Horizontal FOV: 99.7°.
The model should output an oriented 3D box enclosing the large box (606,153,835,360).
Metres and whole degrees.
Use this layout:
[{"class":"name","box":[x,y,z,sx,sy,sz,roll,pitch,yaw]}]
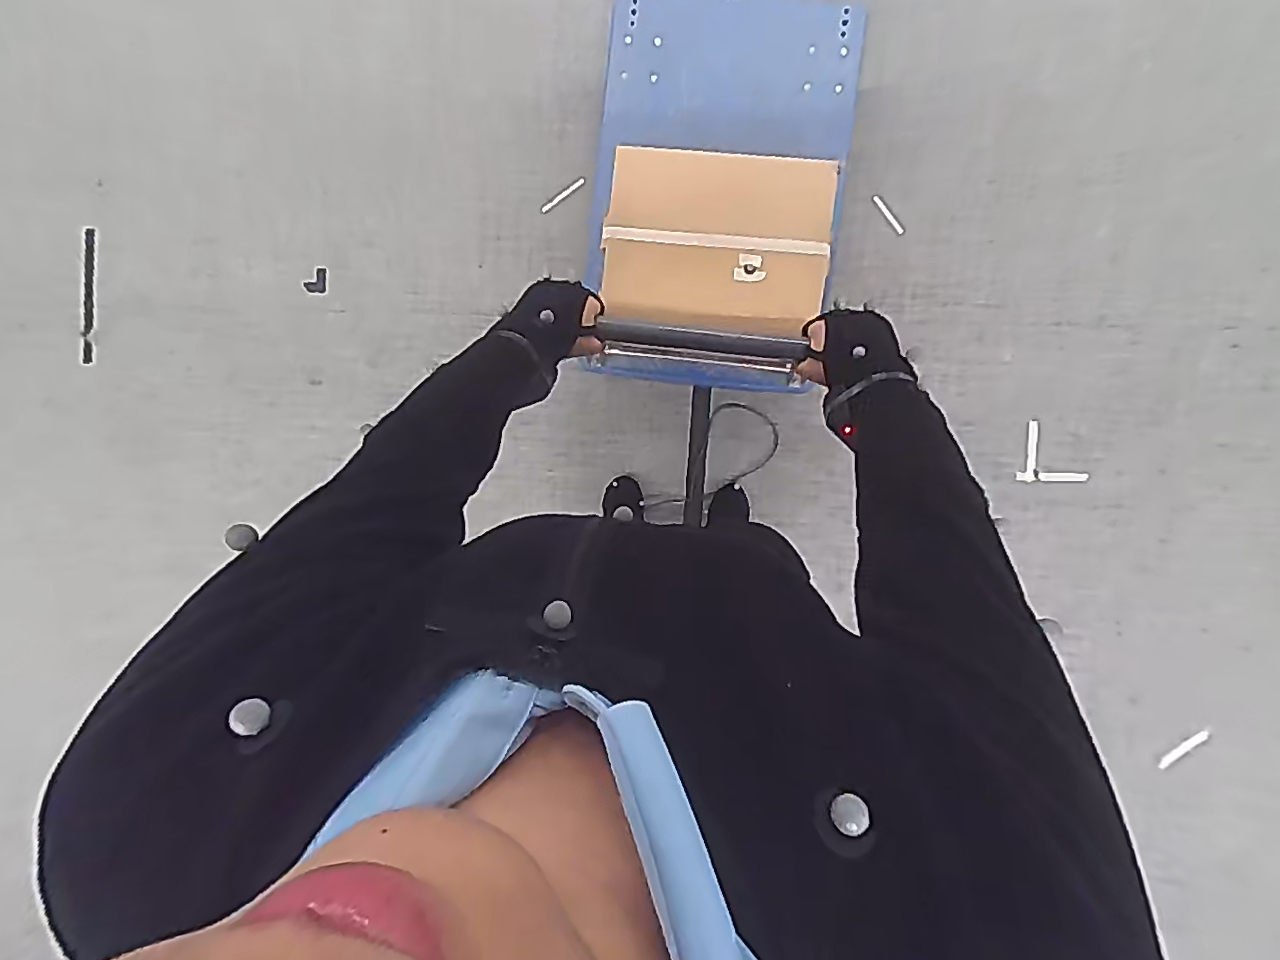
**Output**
[{"class":"large box","box":[0.154,-0.446,1.149,0.408,0.320,0.320,6,95,4]}]
